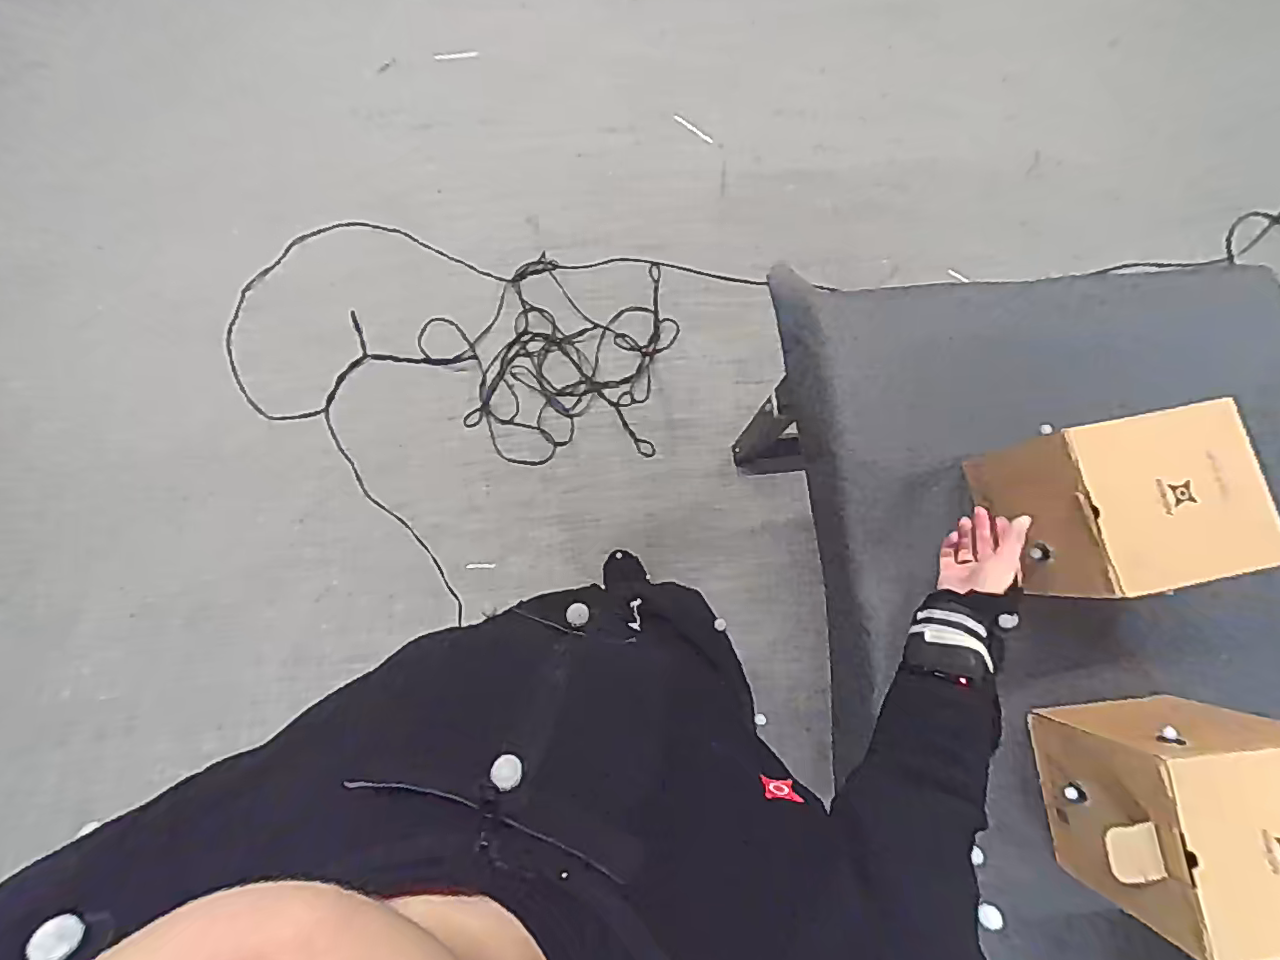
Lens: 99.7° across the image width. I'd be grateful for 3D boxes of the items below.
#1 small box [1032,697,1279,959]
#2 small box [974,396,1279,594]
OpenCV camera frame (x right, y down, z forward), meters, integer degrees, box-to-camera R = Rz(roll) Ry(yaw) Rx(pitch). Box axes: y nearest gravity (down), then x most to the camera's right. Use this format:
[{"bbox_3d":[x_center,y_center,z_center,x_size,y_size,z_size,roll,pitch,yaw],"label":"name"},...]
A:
[{"bbox_3d":[0.547,0.326,0.539,0.179,0.176,0.168,-6,81,-1],"label":"small box"},{"bbox_3d":[0.504,0.025,0.591,0.179,0.176,0.168,-12,82,-4],"label":"small box"}]
